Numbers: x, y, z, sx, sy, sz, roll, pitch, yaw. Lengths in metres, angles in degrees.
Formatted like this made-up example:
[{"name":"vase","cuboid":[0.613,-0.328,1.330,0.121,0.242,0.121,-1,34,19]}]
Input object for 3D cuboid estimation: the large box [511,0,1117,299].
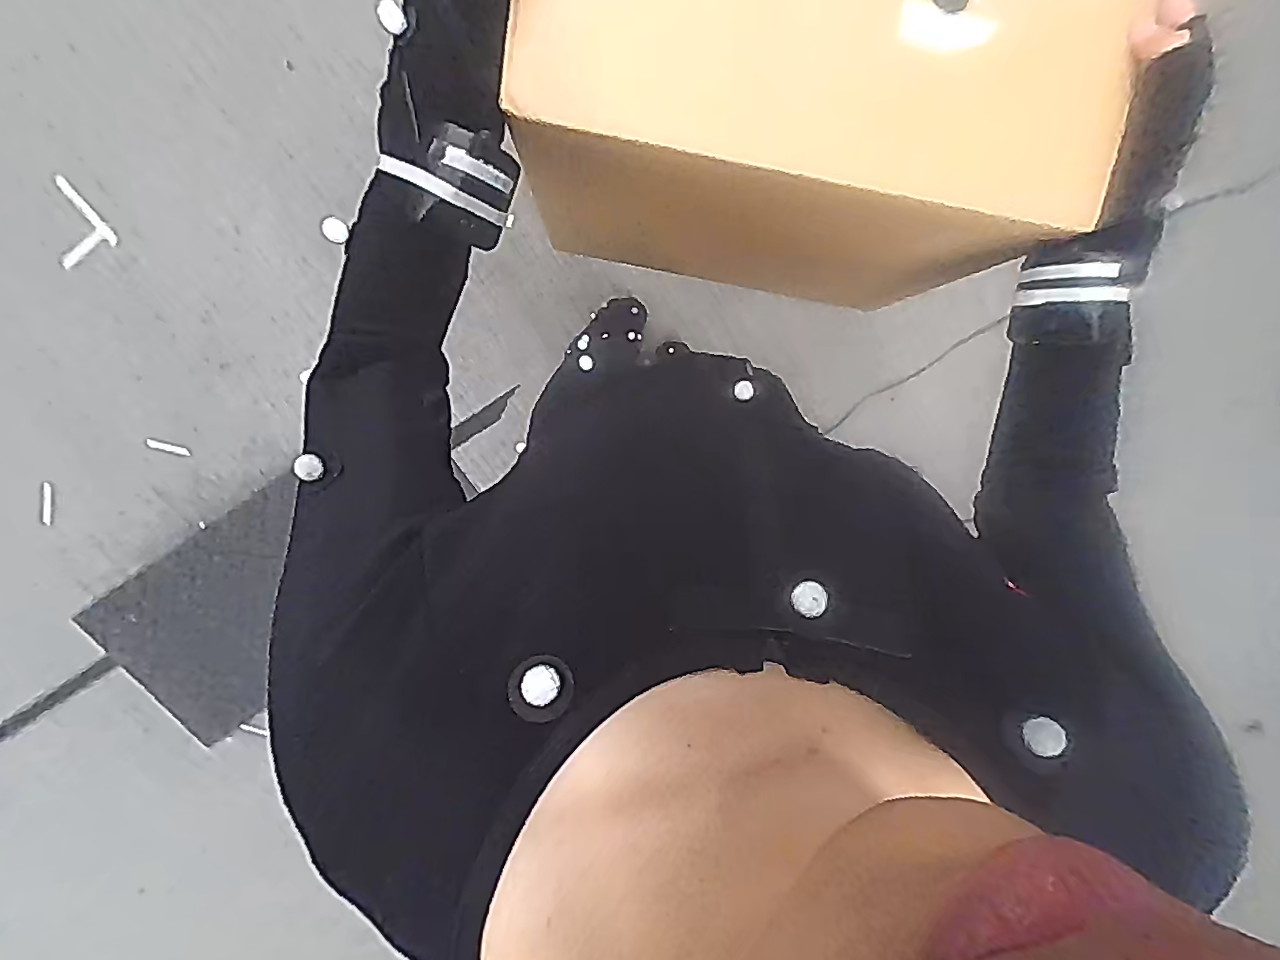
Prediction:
[{"name":"large box","cuboid":[0.118,-0.380,0.499,0.408,0.320,0.320,8,97,-5]}]
